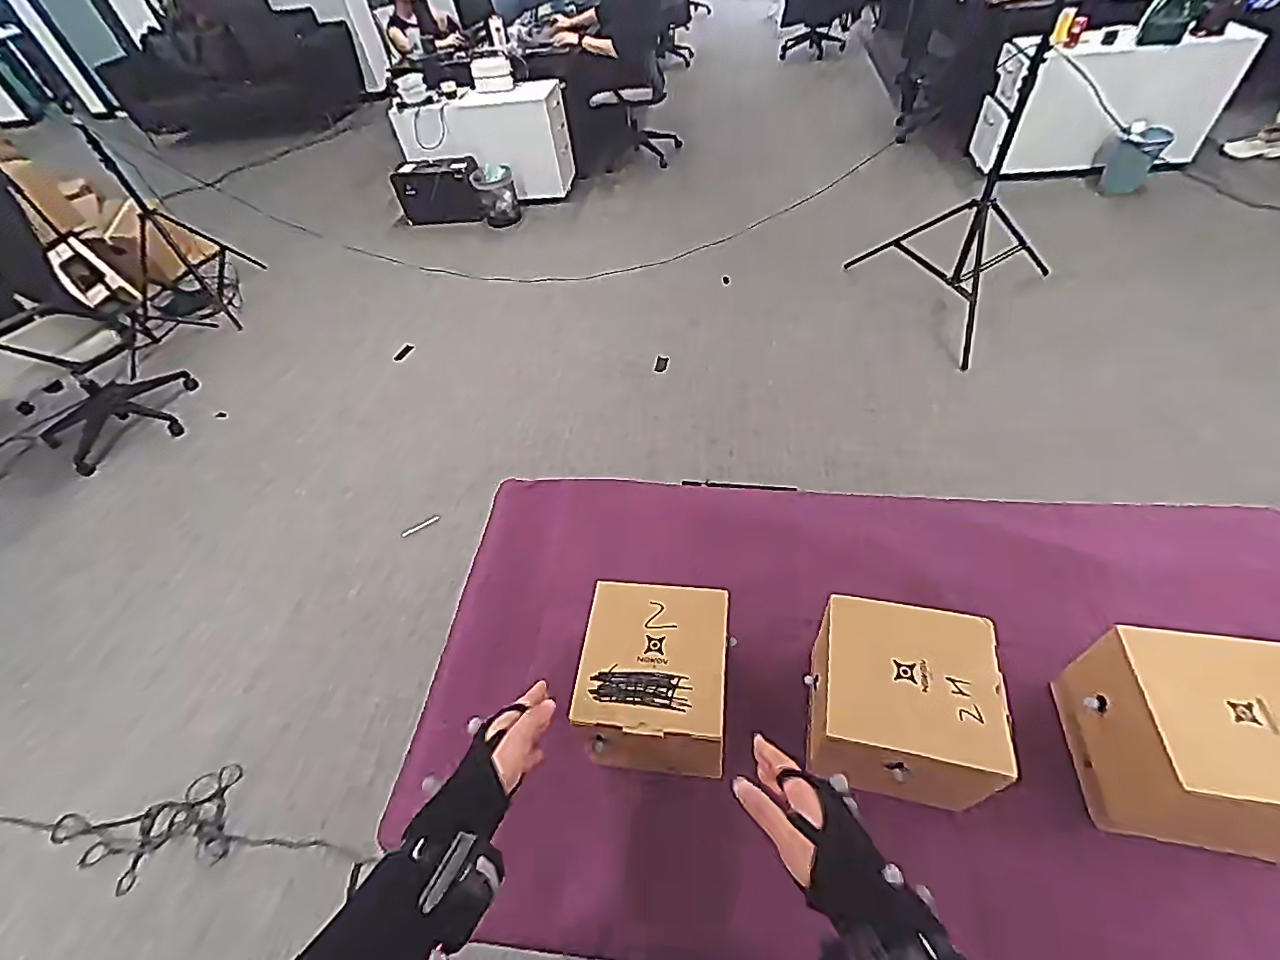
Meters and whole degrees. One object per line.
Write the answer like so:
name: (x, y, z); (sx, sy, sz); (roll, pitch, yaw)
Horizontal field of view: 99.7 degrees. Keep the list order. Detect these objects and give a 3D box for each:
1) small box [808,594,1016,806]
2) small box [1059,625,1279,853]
small box: (0.297, 0.259, 0.633); (0.179, 0.176, 0.168); (8, 51, 14)
small box: (0.591, 0.277, 0.577); (0.179, 0.176, 0.168); (4, 48, 11)
